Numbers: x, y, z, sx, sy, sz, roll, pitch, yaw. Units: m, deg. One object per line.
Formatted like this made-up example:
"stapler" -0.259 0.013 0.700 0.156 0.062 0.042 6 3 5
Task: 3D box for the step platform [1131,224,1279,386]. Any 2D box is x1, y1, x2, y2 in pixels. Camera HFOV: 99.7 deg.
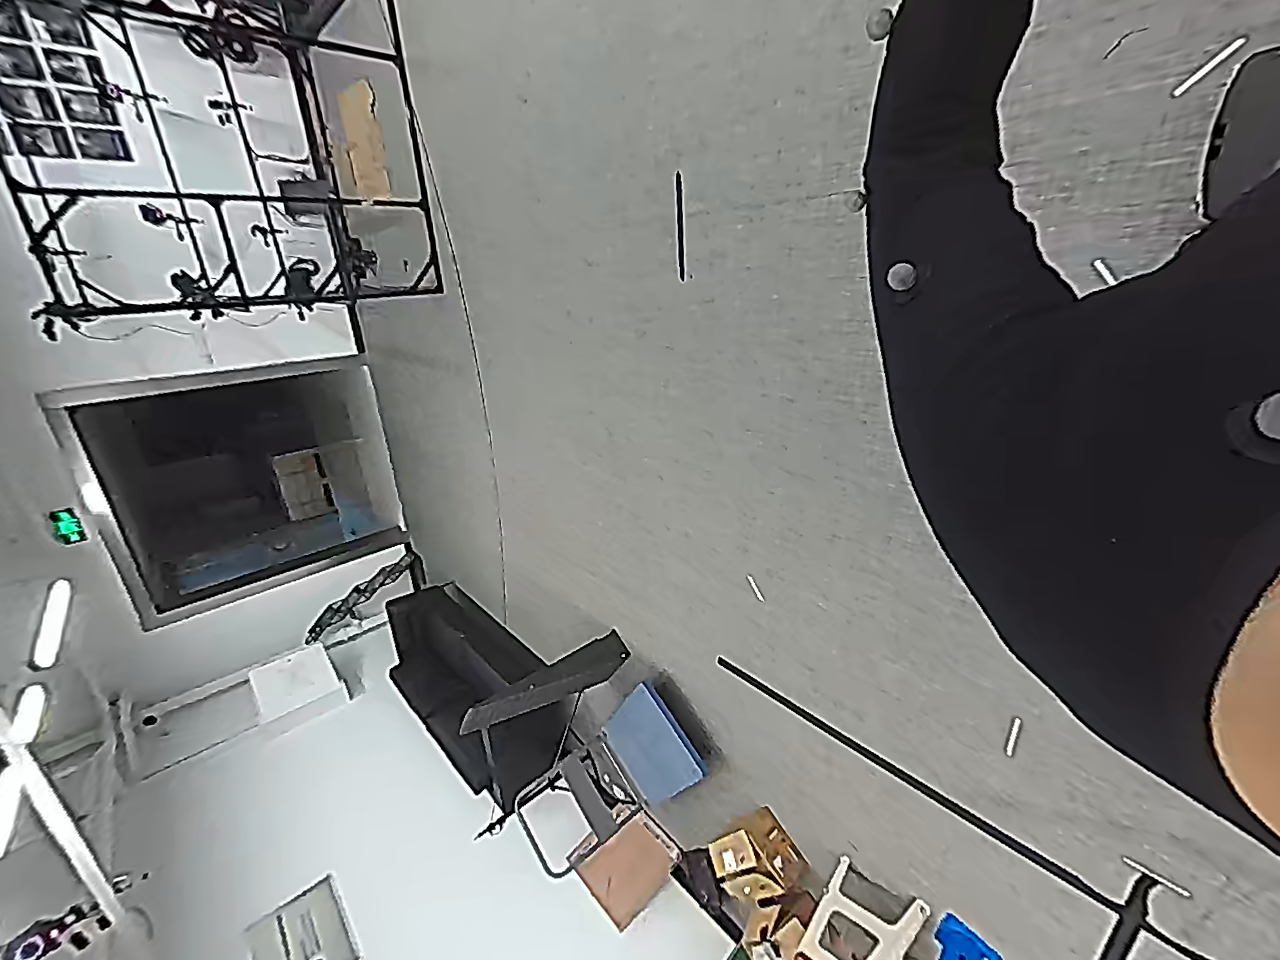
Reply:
"step platform" 1.291 -0.298 0.910 0.684 0.204 0.286 19 119 47
